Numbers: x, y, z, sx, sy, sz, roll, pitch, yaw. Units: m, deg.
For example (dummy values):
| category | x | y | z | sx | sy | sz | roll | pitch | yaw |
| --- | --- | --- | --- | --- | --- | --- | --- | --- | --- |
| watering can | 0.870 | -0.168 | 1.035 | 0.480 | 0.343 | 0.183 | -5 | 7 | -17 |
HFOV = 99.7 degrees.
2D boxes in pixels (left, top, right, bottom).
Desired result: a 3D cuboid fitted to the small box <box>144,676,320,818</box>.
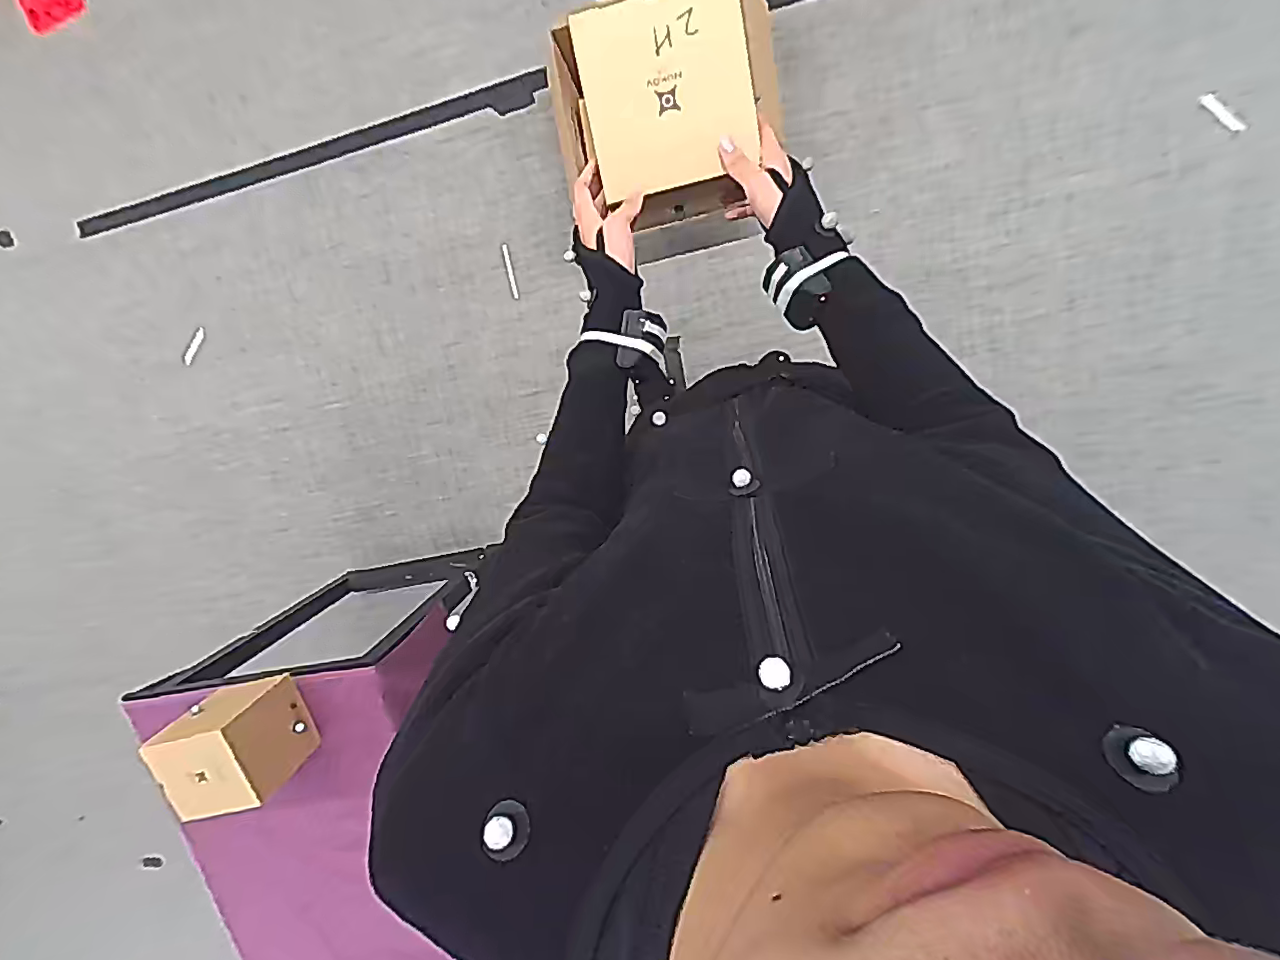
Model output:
| category | x | y | z | sx | sy | sz | roll | pitch | yaw |
| --- | --- | --- | --- | --- | --- | --- | --- | --- | --- |
| small box | -0.765 | 0.502 | 1.033 | 0.179 | 0.176 | 0.168 | -15 | 103 | 10 |

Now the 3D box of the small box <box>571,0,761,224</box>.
| category | x | y | z | sx | sy | sz | roll | pitch | yaw |
| --- | --- | --- | --- | --- | --- | --- | --- | --- | --- |
| small box | 0.033 | -0.403 | 0.609 | 0.168 | 0.176 | 0.179 | -10 | 103 | 6 |
